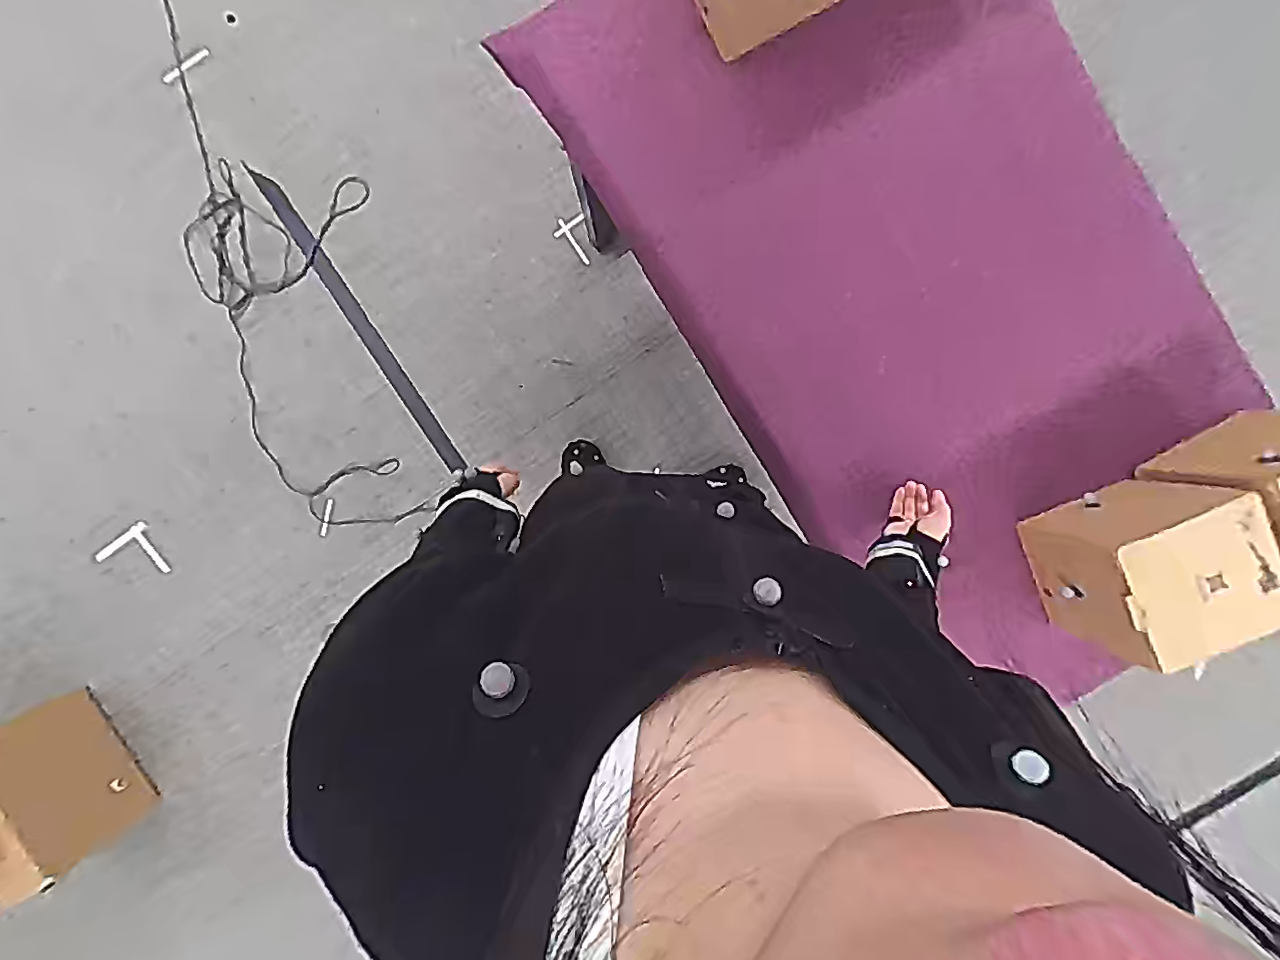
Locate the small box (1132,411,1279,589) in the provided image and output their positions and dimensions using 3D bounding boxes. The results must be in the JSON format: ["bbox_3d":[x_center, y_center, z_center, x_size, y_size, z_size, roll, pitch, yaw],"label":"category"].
[{"bbox_3d":[0.815,0.017,0.702,0.179,0.176,0.168,-29,96,1],"label":"small box"}]
